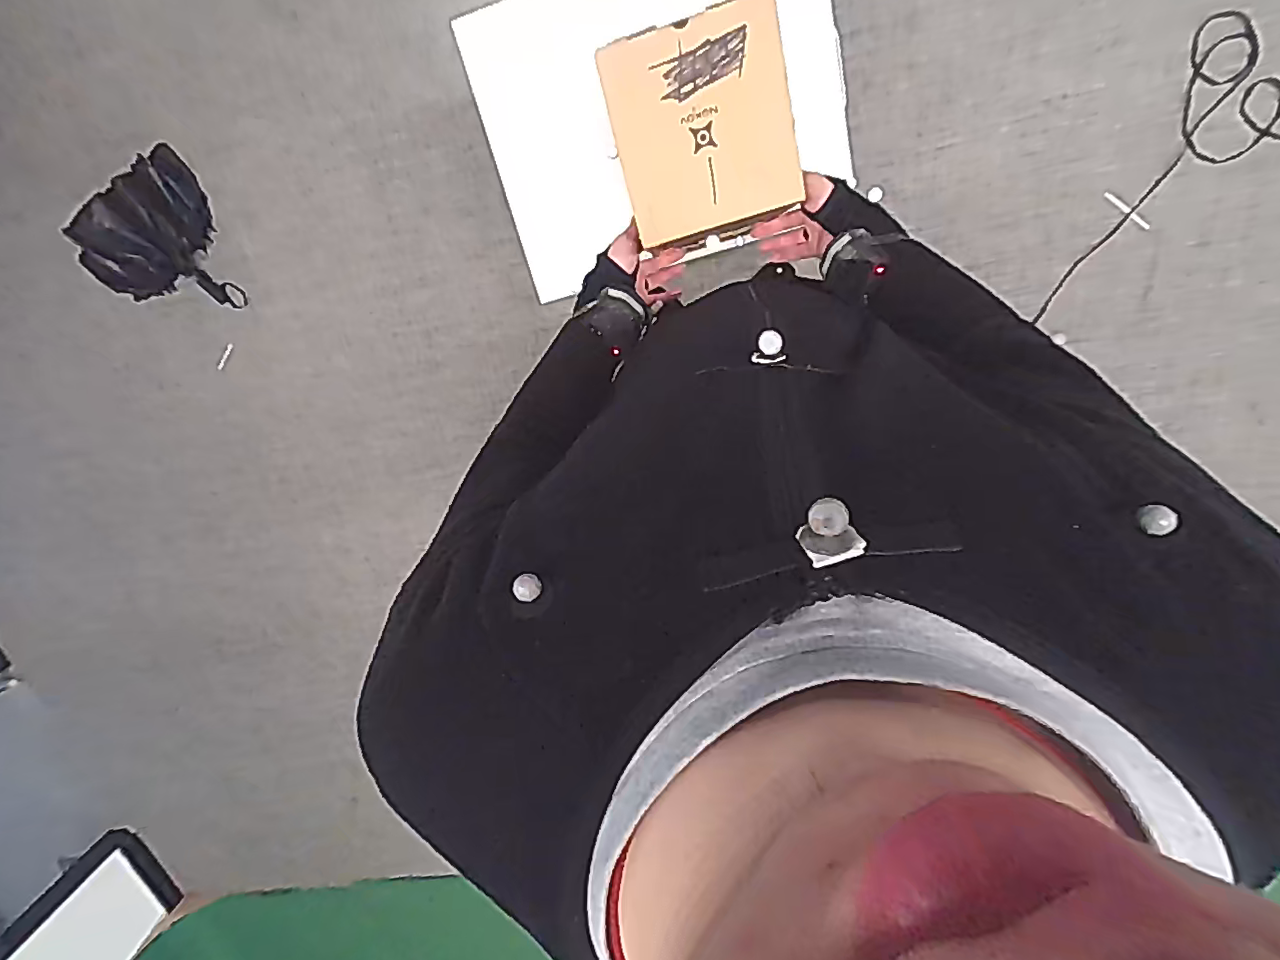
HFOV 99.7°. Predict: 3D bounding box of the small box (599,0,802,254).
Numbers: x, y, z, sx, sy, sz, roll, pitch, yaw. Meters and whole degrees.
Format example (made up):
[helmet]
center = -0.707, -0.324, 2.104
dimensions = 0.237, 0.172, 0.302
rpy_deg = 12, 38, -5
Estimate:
[small box]
center = 0.065, -0.358, 0.585
dimensions = 0.168, 0.176, 0.179
rpy_deg = -13, 110, 10
